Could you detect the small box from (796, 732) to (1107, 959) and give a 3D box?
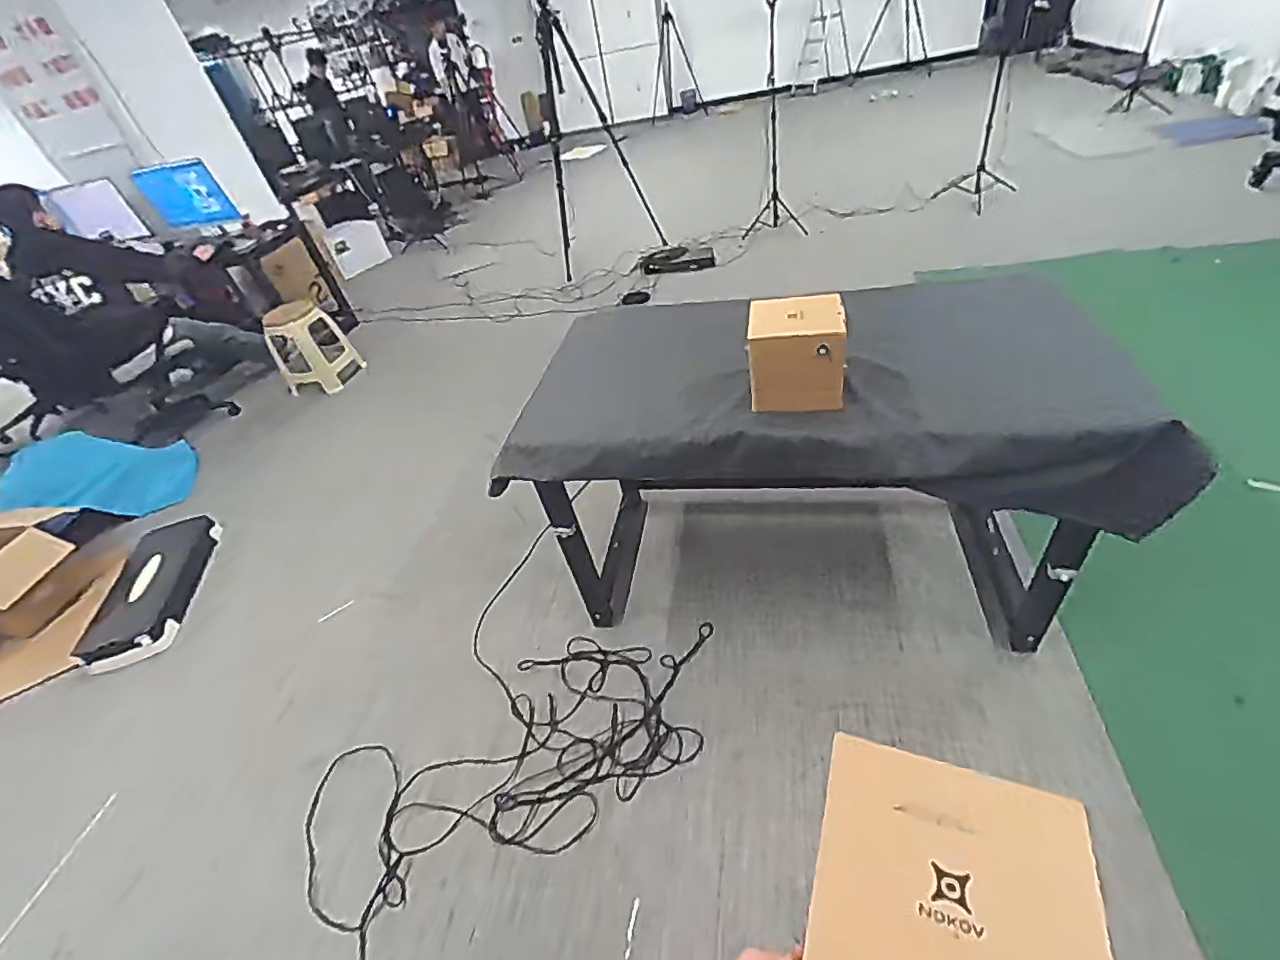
[{"bbox_3d":[0.208,0.328,0.393,0.168,0.176,0.179,8,39,23],"label":"small box"}]

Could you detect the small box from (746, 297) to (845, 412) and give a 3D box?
[{"bbox_3d":[0.309,-0.248,1.085,0.179,0.176,0.168,0,42,15],"label":"small box"}]
